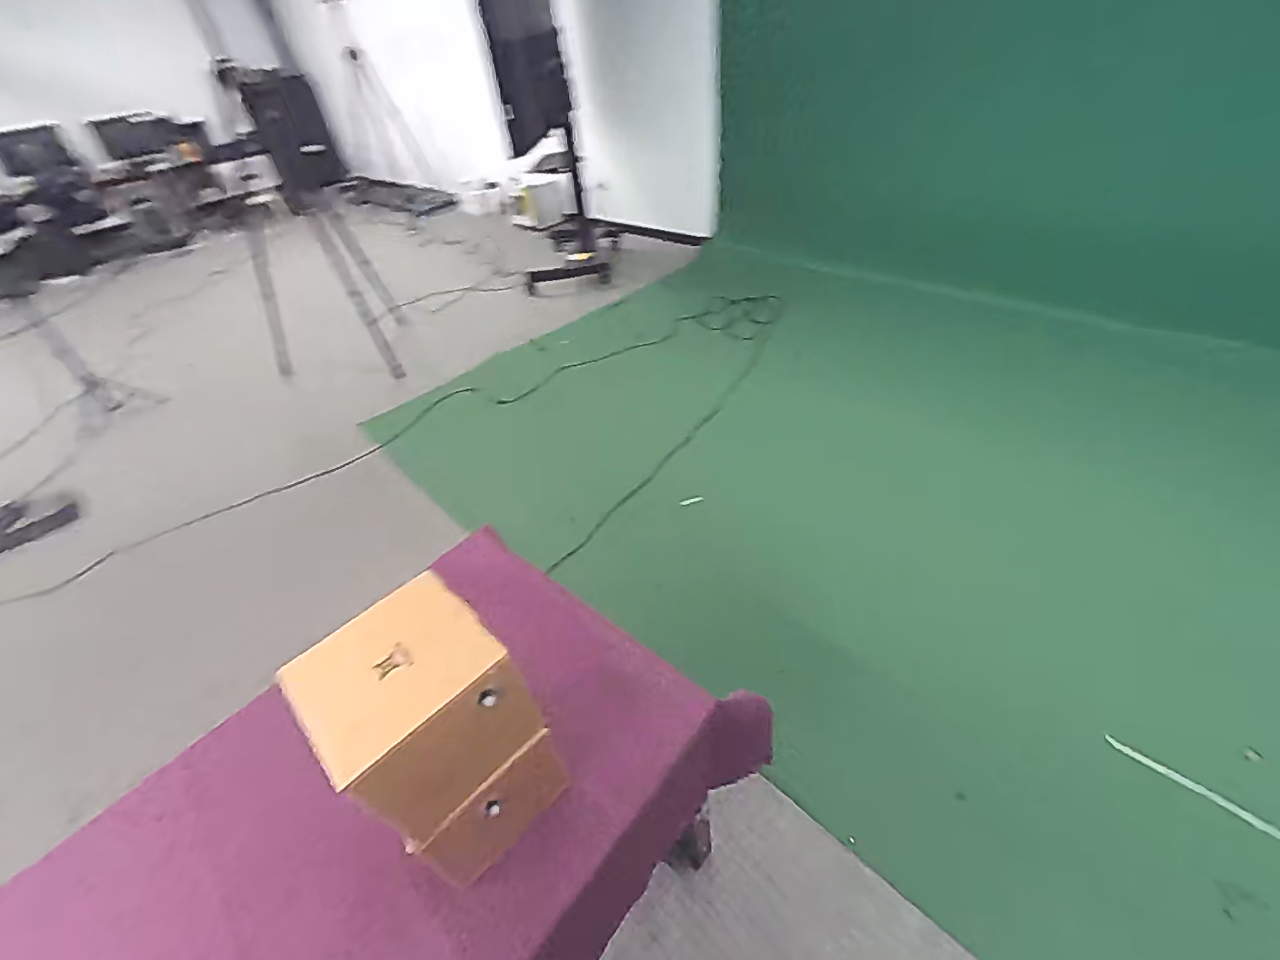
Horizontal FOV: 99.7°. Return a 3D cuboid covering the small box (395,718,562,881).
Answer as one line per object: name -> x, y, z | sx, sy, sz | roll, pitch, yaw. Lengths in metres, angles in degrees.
small box -> -0.224, 0.366, 0.698 | 0.179, 0.176, 0.168 | -35, 49, -28

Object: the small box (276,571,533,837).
small box -> -0.244, 0.243, 0.594 | 0.168, 0.176, 0.179 | 30, 53, 34
